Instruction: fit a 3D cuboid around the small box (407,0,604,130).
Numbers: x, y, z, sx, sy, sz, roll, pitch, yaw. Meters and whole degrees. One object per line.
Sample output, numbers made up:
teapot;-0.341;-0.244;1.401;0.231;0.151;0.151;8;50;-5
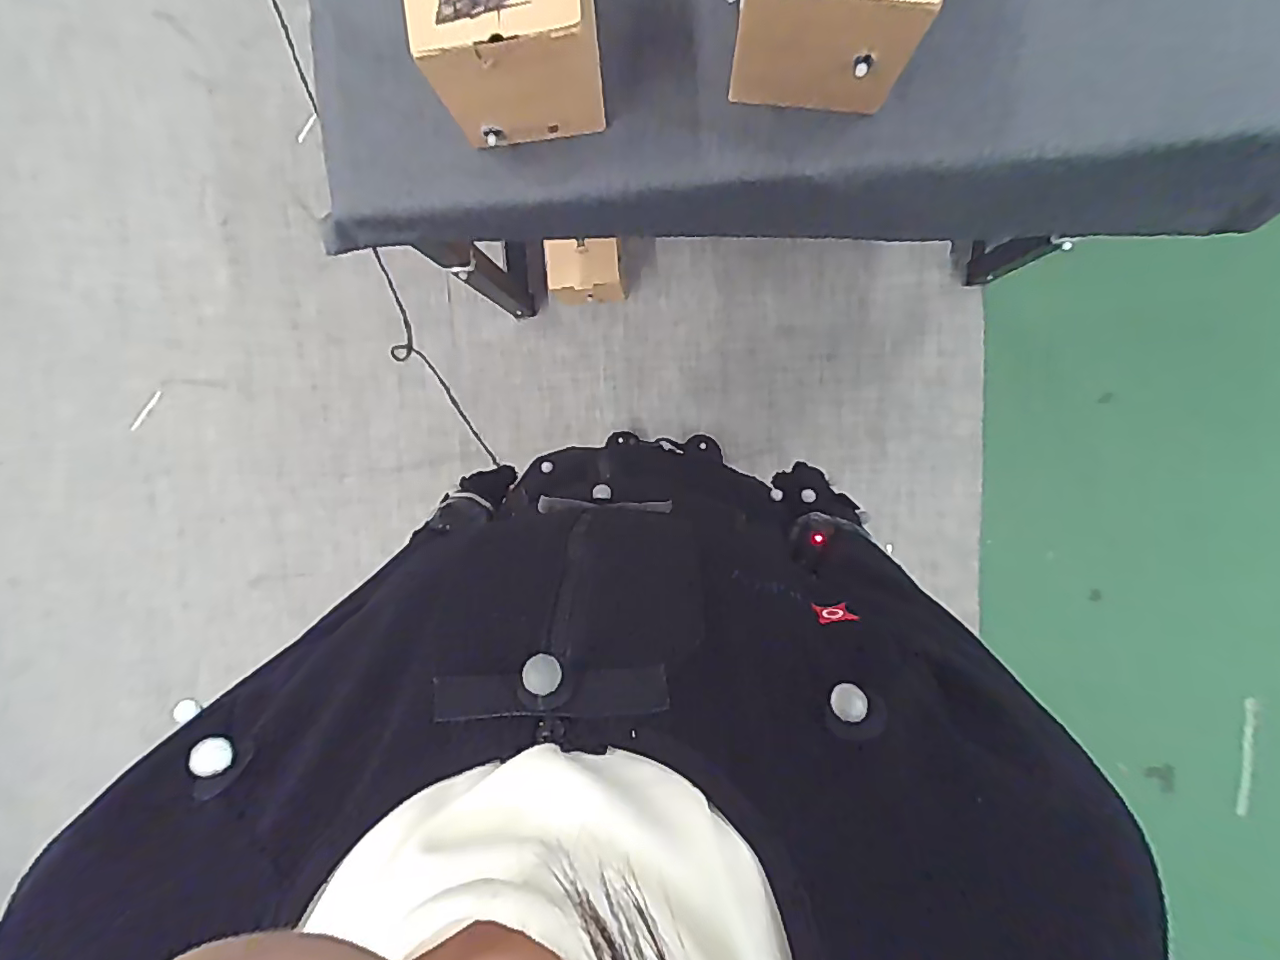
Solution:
small box;-0.133;-0.503;0.573;0.168;0.176;0.179;-4;94;3

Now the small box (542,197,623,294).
small box;-0.131;-0.554;1.304;0.168;0.176;0.179;-3;96;3

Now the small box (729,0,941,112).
small box;0.196;-0.515;0.557;0.179;0.176;0.168;8;95;4
